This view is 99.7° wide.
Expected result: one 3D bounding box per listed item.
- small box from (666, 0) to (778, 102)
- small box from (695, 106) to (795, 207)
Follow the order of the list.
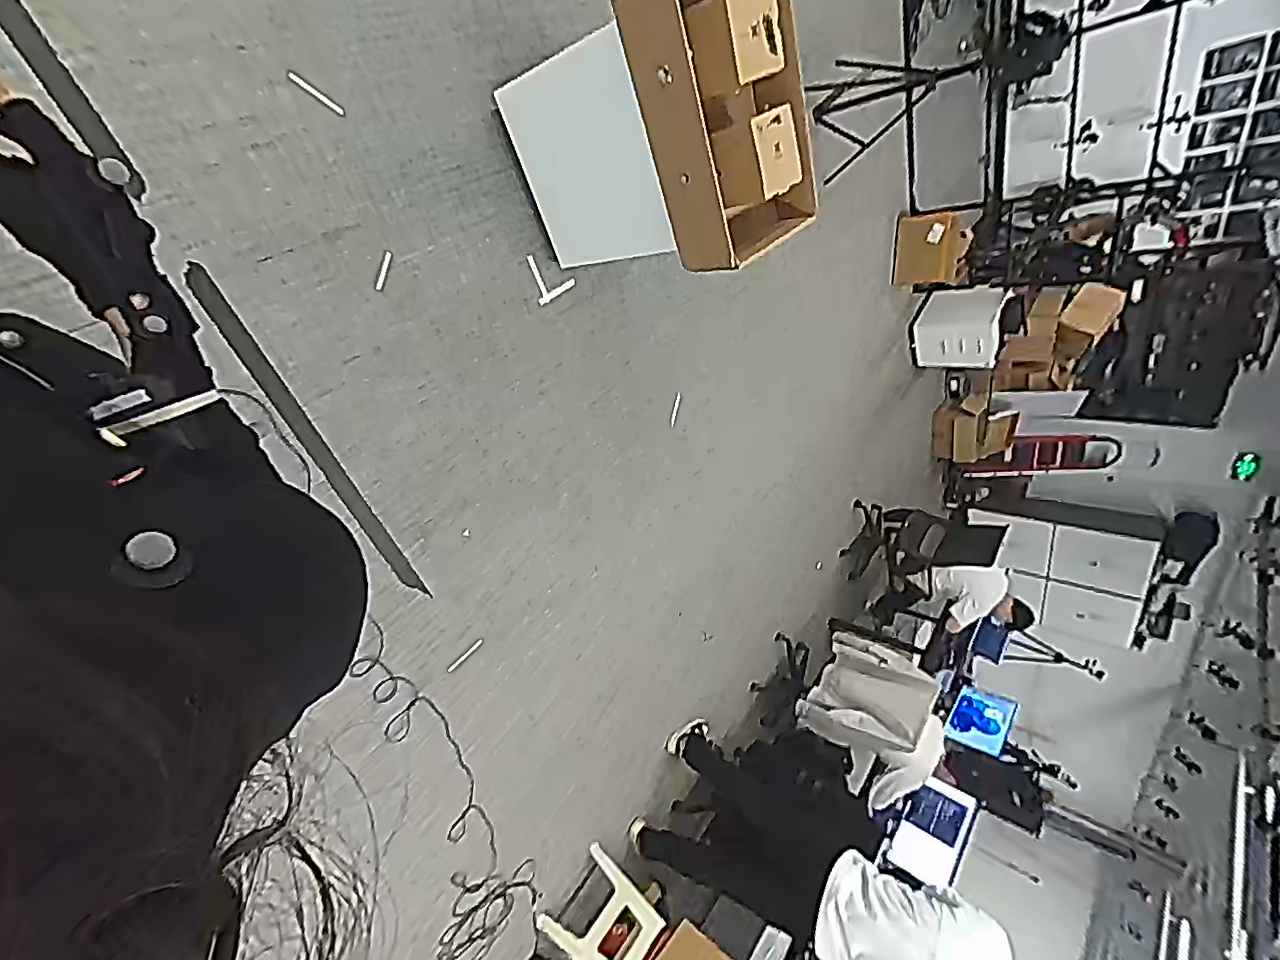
[{"bbox_3d":[0.188,-0.999,1.239,0.179,0.176,0.168,-39,127,-27],"label":"small box"},{"bbox_3d":[0.266,-0.812,1.373,0.168,0.176,0.179,-40,126,-29],"label":"small box"}]
